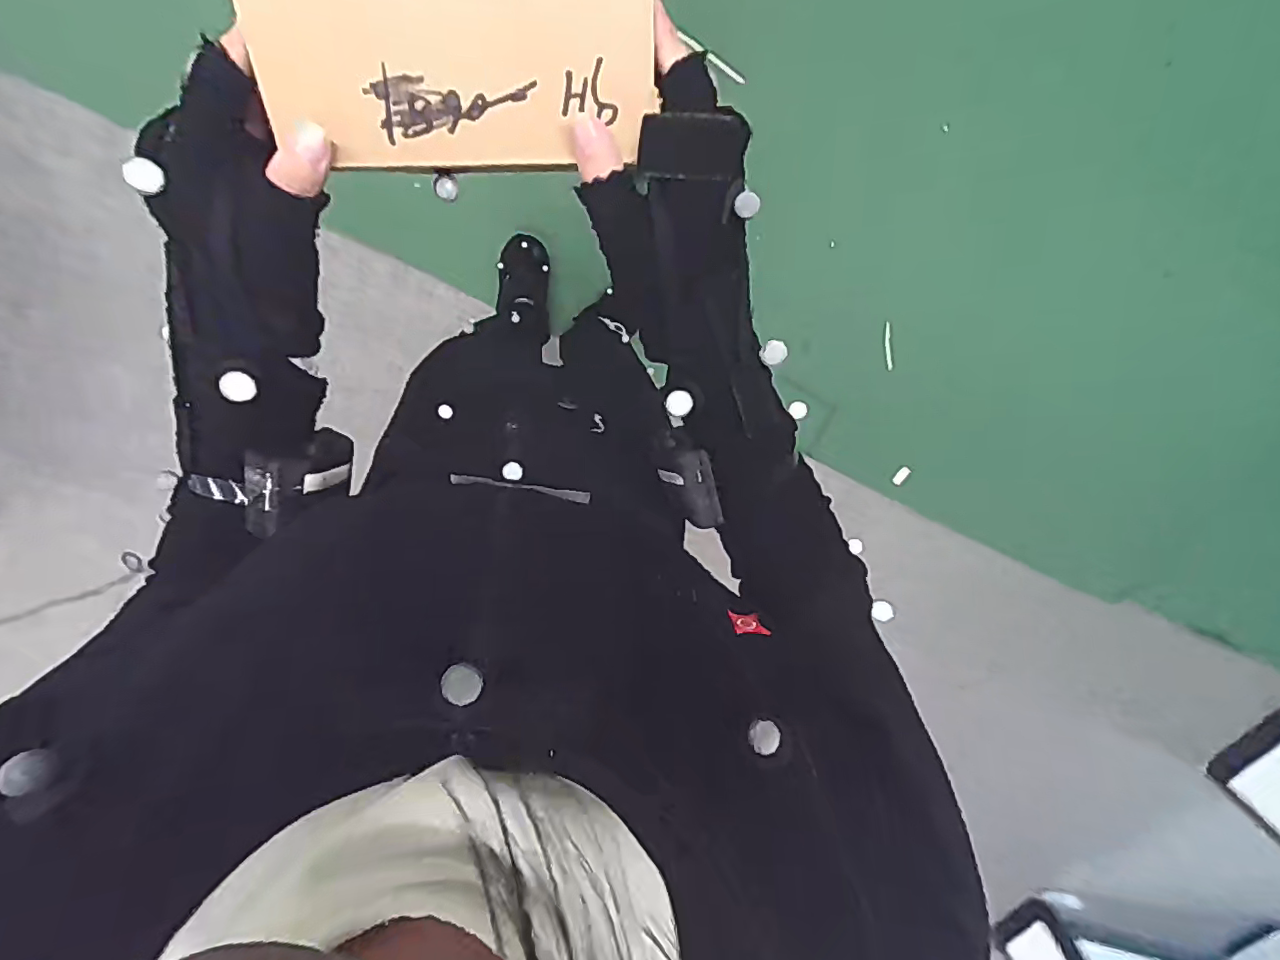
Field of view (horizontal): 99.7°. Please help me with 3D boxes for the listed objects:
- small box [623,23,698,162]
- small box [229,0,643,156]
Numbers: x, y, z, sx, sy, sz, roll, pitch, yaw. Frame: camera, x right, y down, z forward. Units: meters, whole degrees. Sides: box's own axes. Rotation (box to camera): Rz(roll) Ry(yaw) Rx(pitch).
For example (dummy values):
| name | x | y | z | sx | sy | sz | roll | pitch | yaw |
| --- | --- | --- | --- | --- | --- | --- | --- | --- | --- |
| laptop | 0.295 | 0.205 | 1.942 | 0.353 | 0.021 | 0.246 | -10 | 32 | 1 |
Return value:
| name | x | y | z | sx | sy | sz | roll | pitch | yaw |
| --- | --- | --- | --- | --- | --- | --- | --- | --- | --- |
| small box | -0.009 | -0.752 | 1.054 | 0.168 | 0.176 | 0.179 | 25 | 114 | -13 |
| small box | -0.088 | -0.266 | 0.269 | 0.168 | 0.176 | 0.179 | -3 | 121 | -4 |
